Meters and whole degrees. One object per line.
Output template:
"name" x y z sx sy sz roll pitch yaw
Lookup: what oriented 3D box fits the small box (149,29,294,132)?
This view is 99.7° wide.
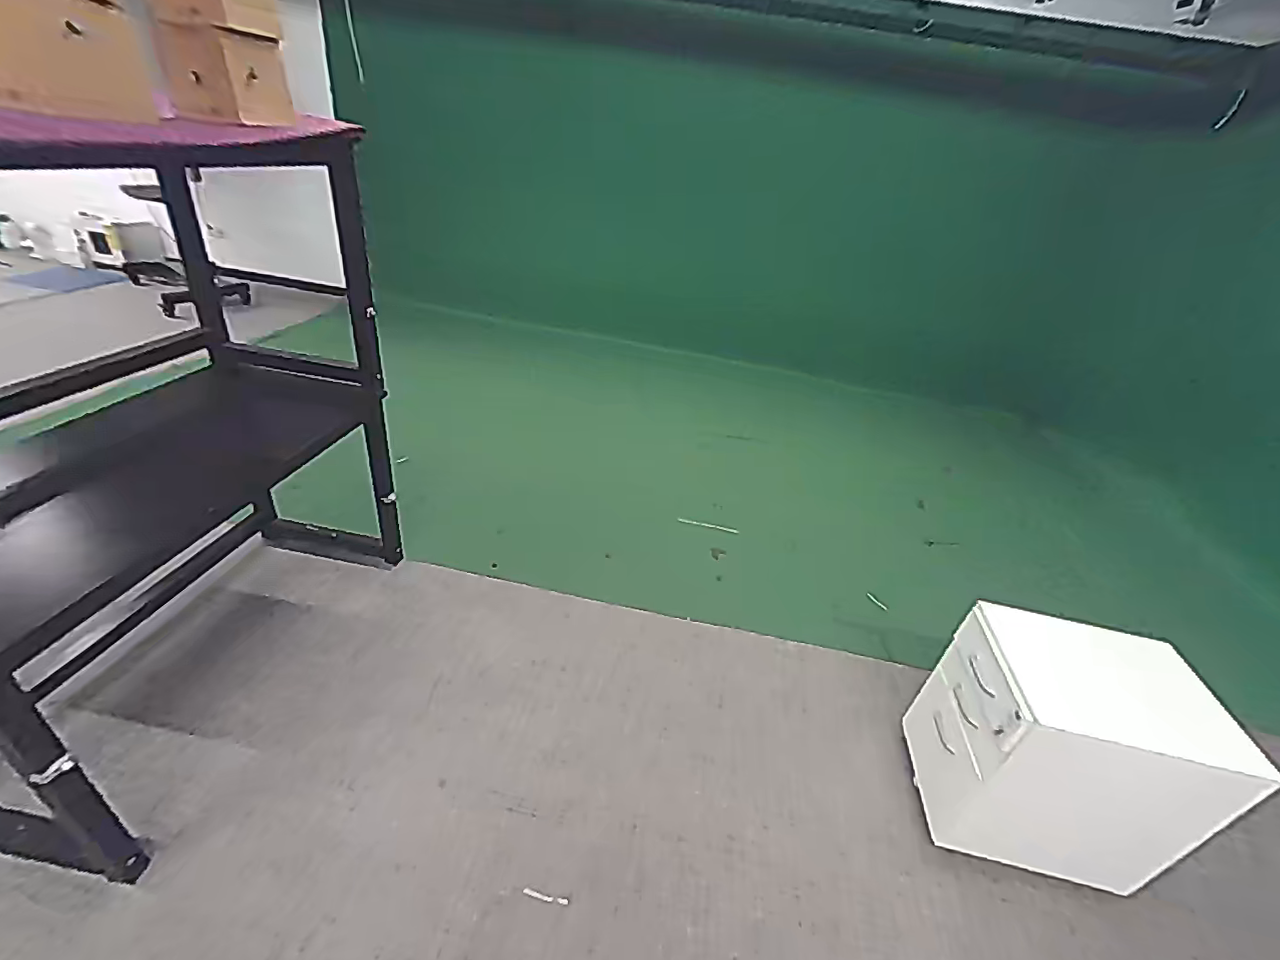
"small box" -0.914 -0.880 1.204 0.168 0.176 0.179 9 33 5

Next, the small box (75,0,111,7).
"small box" -0.939 -0.820 0.792 0.168 0.176 0.179 16 33 13

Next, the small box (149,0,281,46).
"small box" -0.886 -1.015 1.116 0.168 0.176 0.179 9 32 5

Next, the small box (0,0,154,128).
"small box" -0.960 -0.685 0.881 0.168 0.176 0.179 12 31 4
